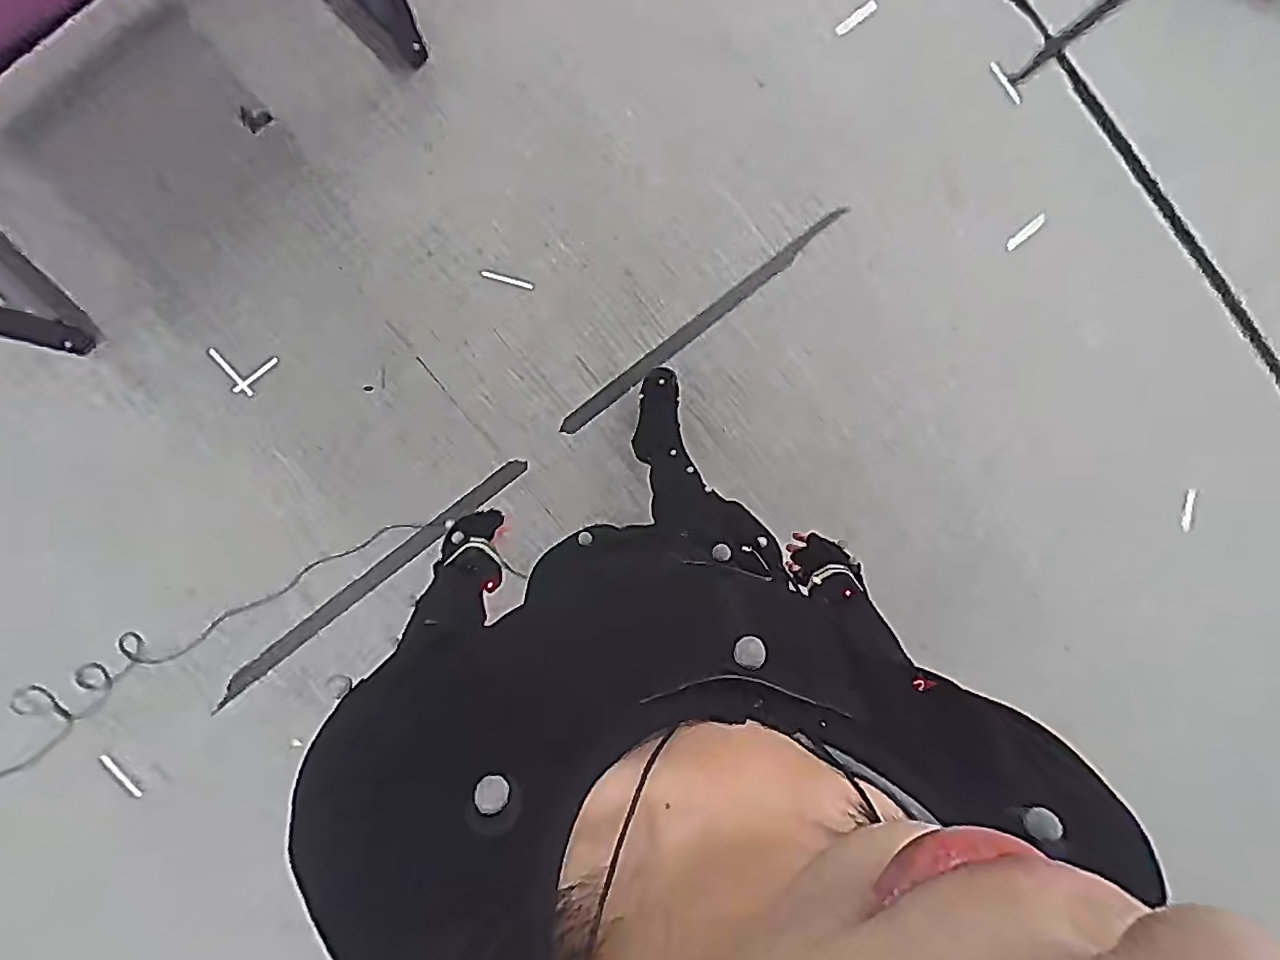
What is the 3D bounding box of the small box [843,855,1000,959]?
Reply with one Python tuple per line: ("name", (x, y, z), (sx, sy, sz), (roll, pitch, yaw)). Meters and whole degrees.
("small box", (0.466, 0.761, 0.865), (0.168, 0.176, 0.179), (-40, 88, -4))
